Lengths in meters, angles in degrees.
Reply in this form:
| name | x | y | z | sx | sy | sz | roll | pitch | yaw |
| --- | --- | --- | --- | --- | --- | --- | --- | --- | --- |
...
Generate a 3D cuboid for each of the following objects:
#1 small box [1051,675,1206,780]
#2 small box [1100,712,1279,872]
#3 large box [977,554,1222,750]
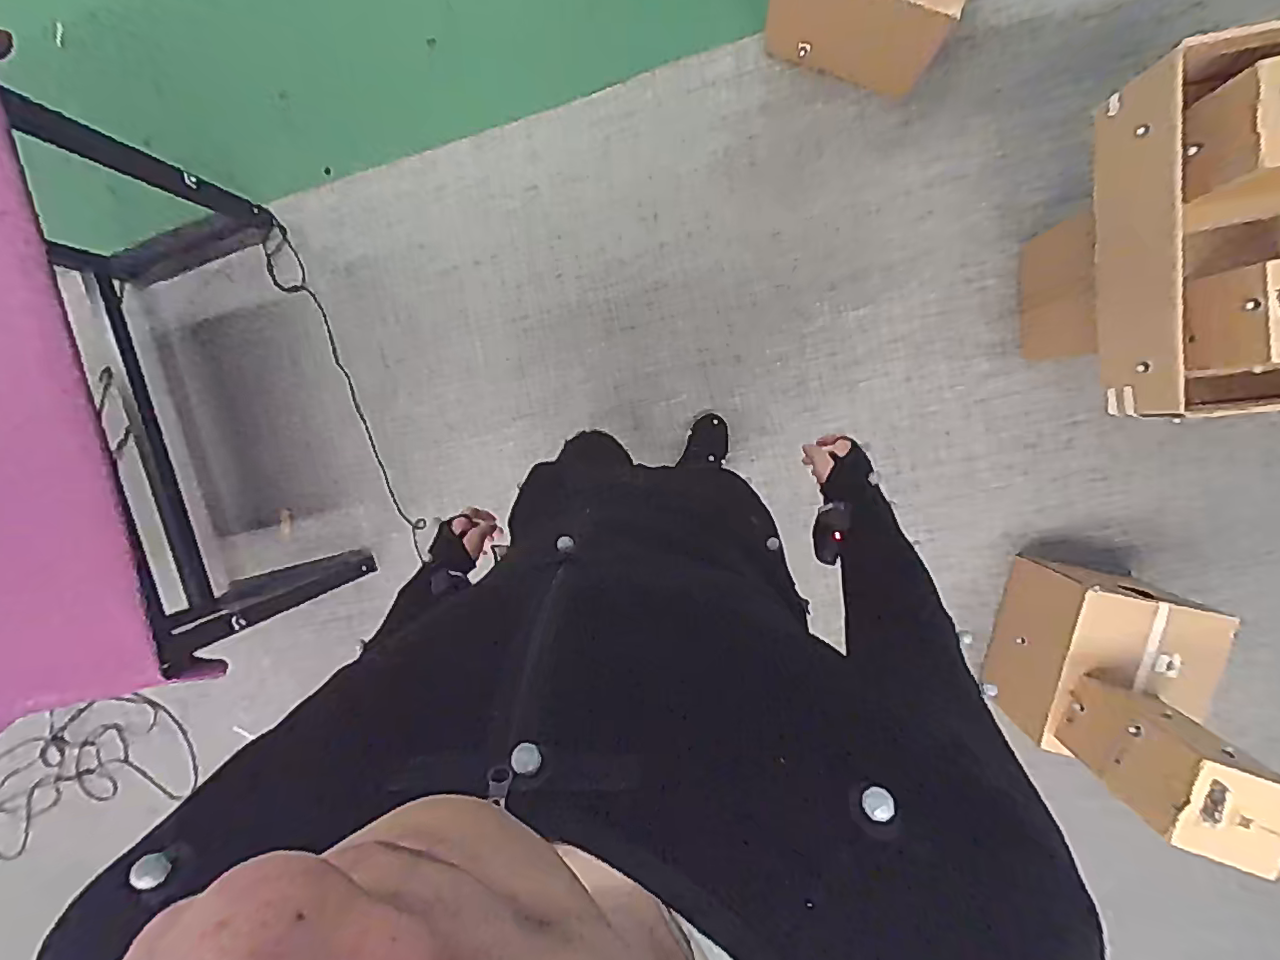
| name | x | y | z | sx | sy | sz | roll | pitch | yaw |
| --- | --- | --- | --- | --- | --- | --- | --- | --- | --- |
| small box | 1.045 | 0.547 | 1.159 | 0.179 | 0.176 | 0.168 | 18 | 98 | 7 |
| small box | 1.016 | 0.560 | 0.999 | 0.179 | 0.176 | 0.168 | 18 | 98 | 5 |
| large box | 1.131 | 0.441 | 1.384 | 0.320 | 0.320 | 0.408 | 11 | 97 | 5 |
